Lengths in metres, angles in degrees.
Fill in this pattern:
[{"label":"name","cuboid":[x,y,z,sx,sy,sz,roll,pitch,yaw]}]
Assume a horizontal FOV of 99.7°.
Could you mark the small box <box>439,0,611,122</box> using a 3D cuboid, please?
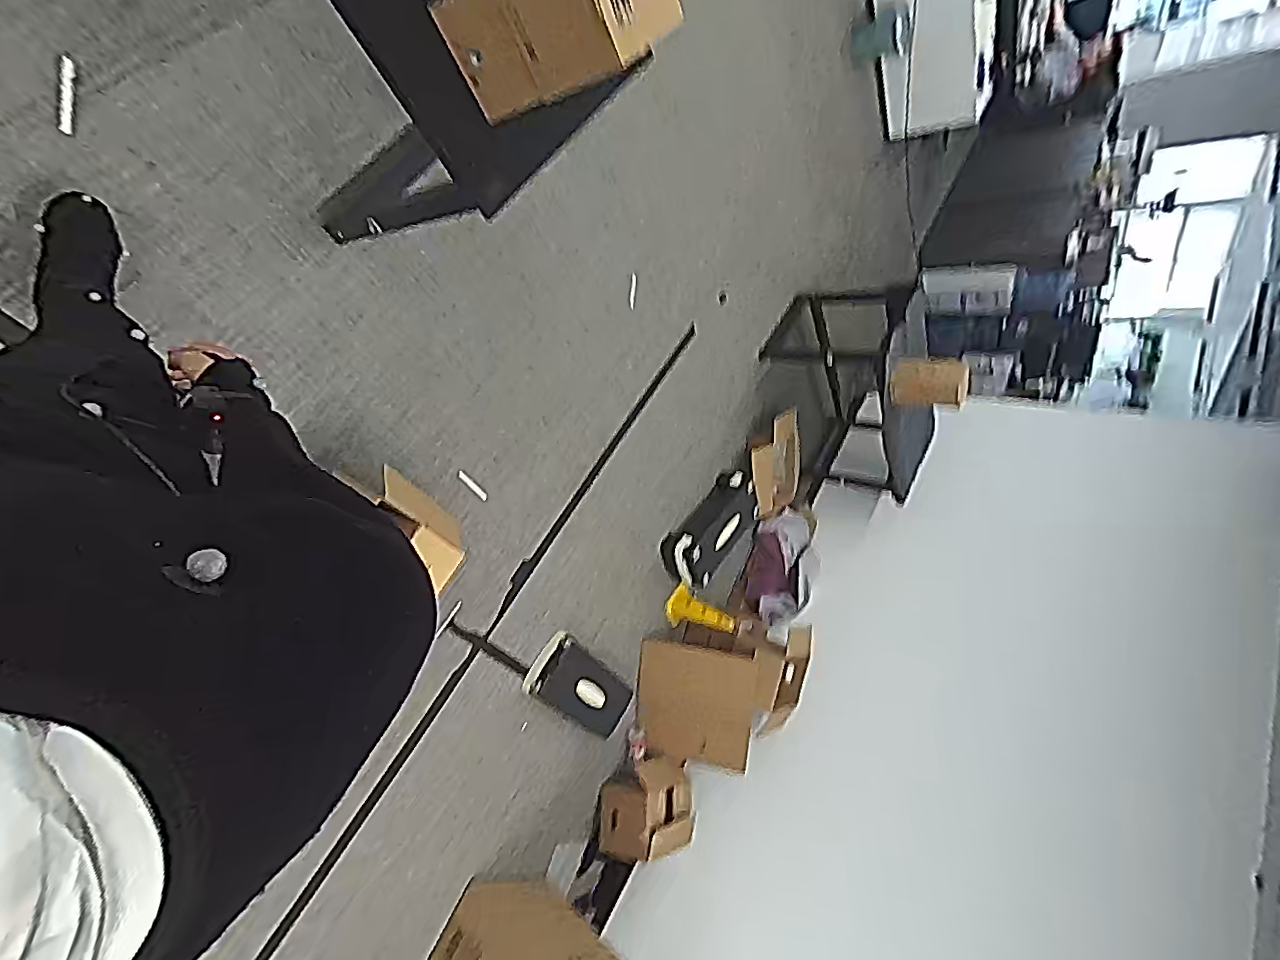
[{"label":"small box","cuboid":[-0.185,-0.720,0.876,0.179,0.176,0.168,-53,135,-25]}]
